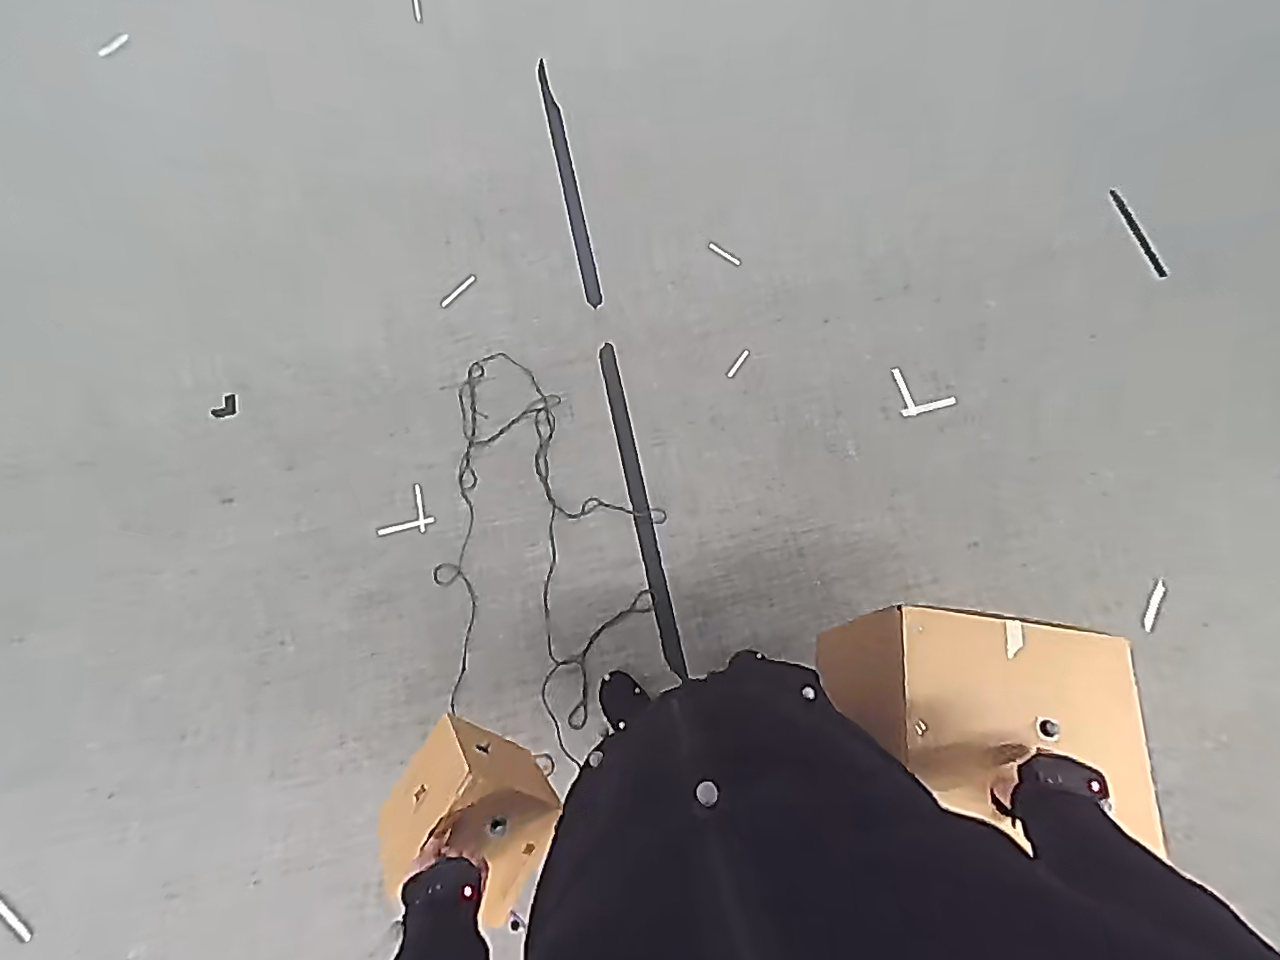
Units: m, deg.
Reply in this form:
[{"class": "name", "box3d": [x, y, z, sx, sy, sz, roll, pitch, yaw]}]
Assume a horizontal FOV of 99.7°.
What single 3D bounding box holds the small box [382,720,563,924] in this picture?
[{"class": "small box", "box3d": [-0.238, 0.485, 0.772, 0.176, 0.179, 0.168, 41, 75, -25]}]
